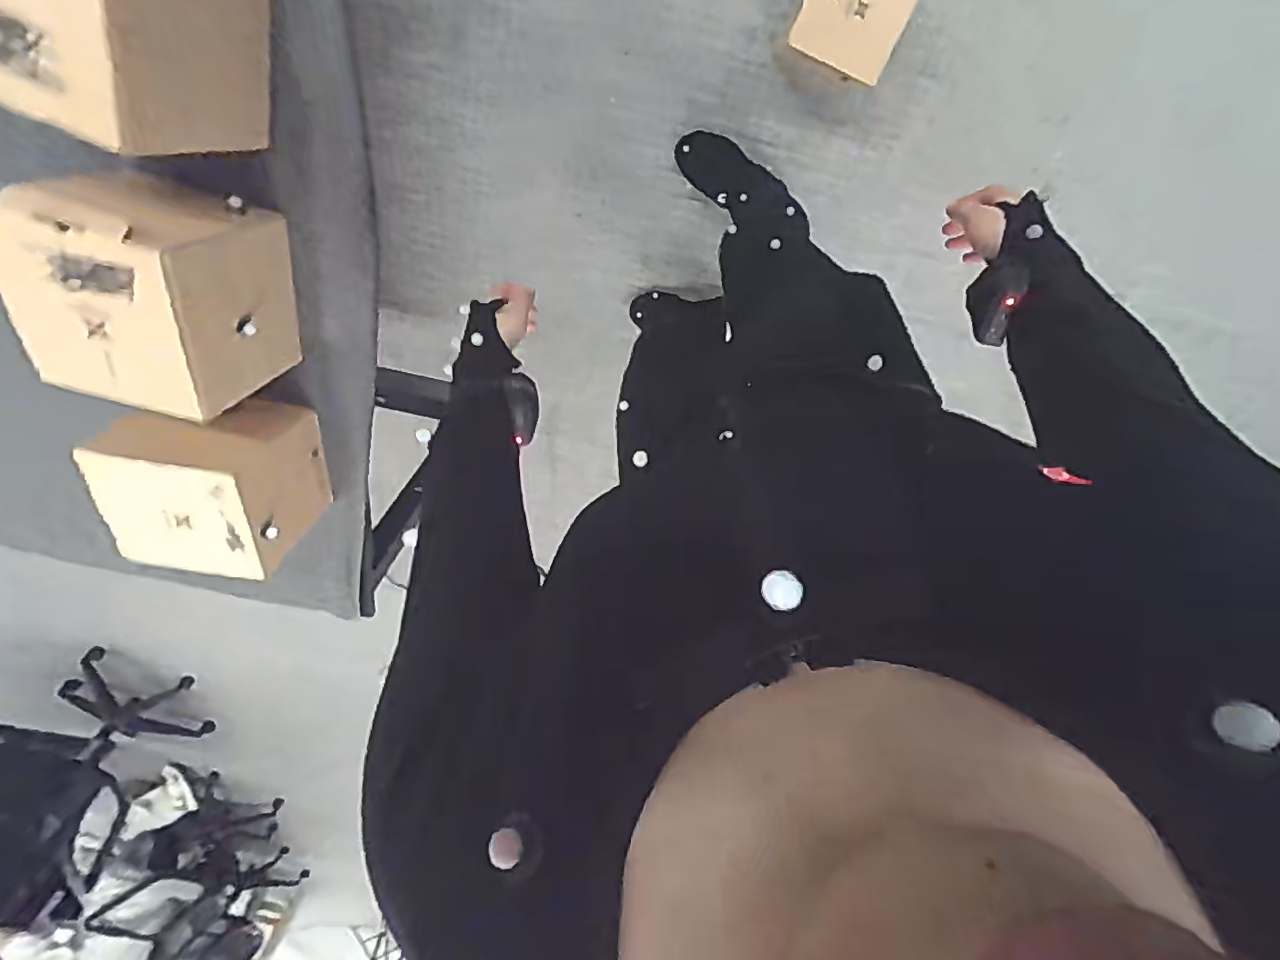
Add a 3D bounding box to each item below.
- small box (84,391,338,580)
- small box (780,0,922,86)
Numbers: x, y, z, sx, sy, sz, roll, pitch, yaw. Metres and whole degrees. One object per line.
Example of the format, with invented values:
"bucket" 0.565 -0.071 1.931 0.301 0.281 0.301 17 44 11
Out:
"small box" -0.531 0.000 0.702 0.179 0.176 0.168 11 125 -2
"small box" 0.367 -0.820 0.944 0.179 0.176 0.168 19 124 -8
